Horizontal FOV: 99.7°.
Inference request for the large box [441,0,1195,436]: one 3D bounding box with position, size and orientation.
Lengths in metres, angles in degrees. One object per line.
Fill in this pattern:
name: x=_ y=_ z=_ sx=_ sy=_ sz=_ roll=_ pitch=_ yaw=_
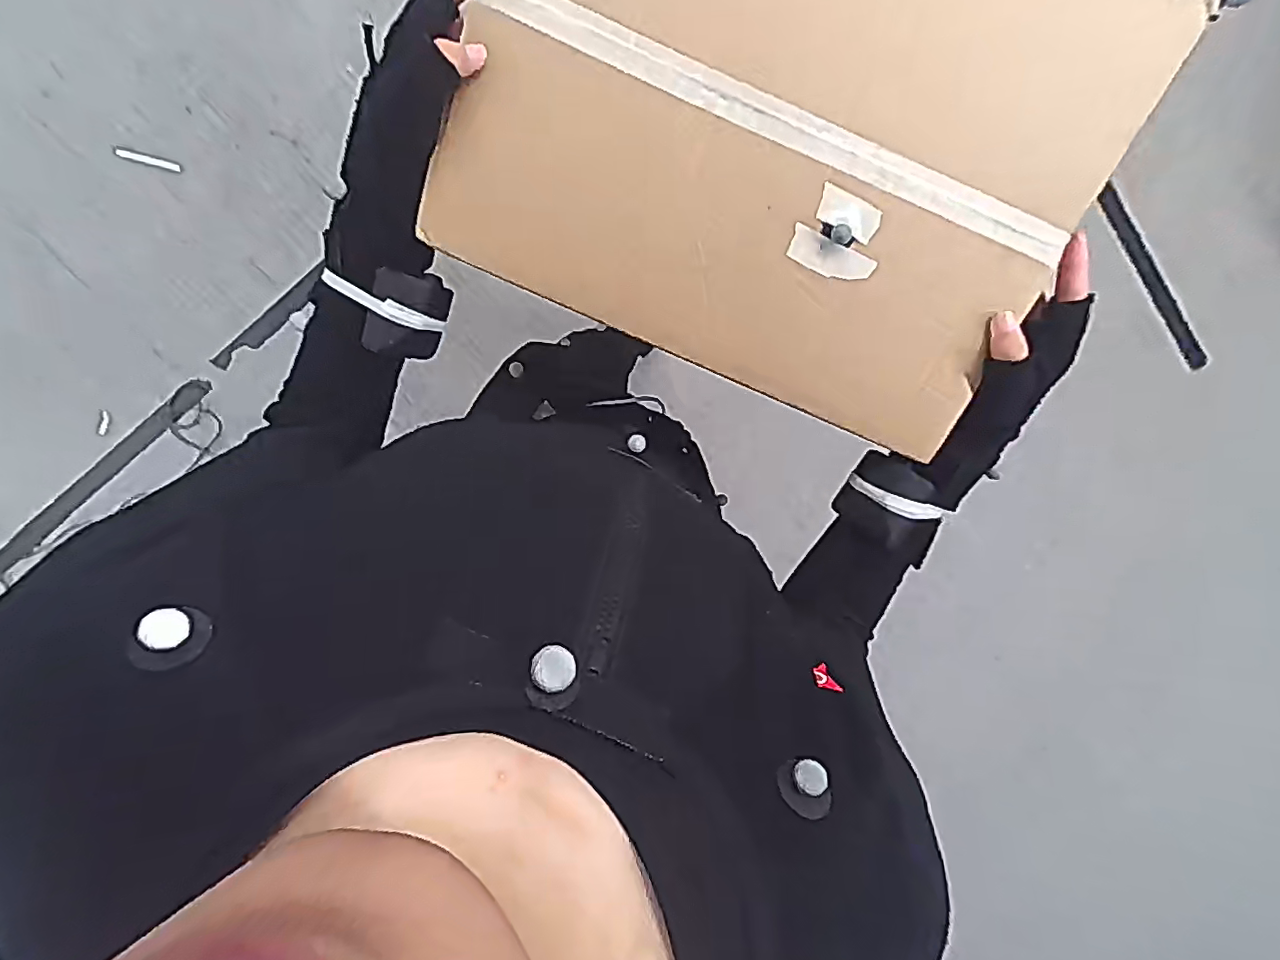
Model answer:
large box: x=0.102 y=-0.285 z=0.495 sx=0.408 sy=0.320 sz=0.320 roll=23 pitch=110 yaw=-4
